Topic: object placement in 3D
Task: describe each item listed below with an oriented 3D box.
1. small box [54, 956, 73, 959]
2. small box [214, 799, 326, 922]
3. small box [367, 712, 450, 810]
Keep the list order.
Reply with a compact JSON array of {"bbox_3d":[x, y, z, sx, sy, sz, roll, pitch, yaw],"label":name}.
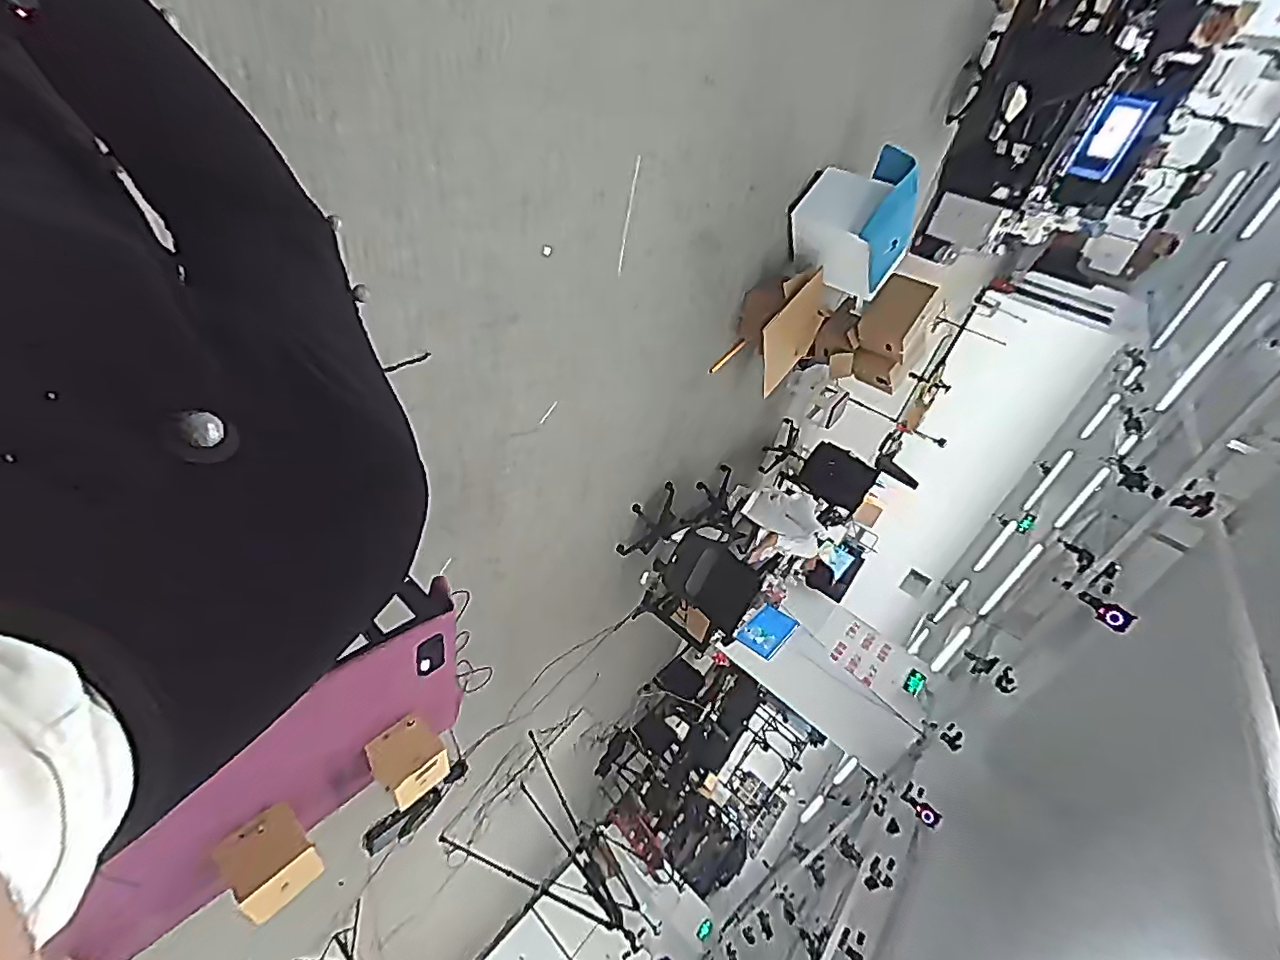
[{"bbox_3d":[-1.212,1.116,1.085,0.168,0.176,0.179,-31,145,-42],"label":"small box"},{"bbox_3d":[-0.936,0.959,1.373,0.168,0.176,0.179,-32,145,-41],"label":"small box"},{"bbox_3d":[-0.698,0.838,1.631,0.168,0.176,0.179,-31,145,-40],"label":"small box"}]
